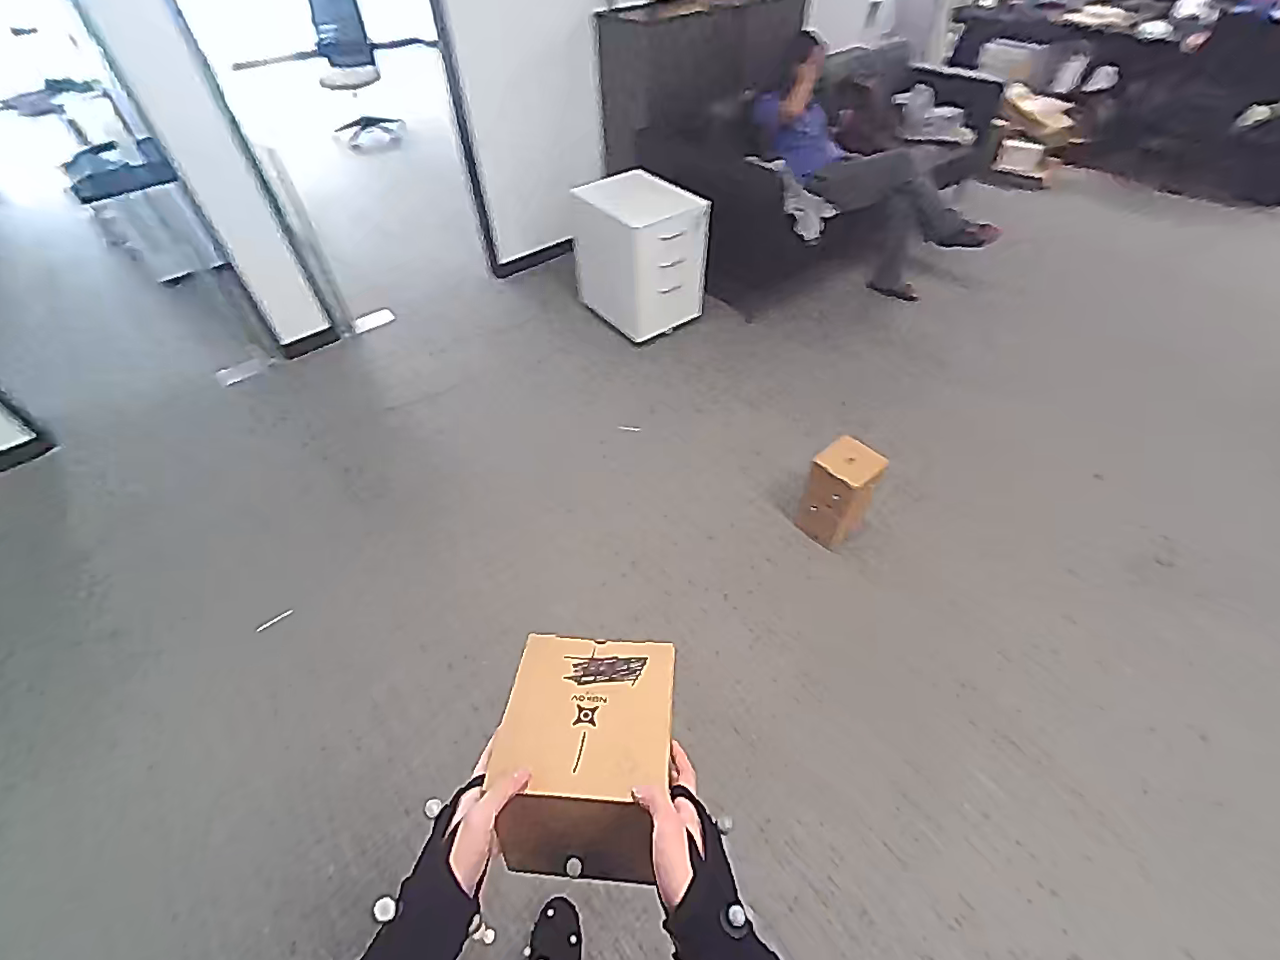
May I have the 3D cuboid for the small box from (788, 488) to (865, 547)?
[{"bbox_3d":[0.643,0.099,1.885,0.179,0.176,0.168,-31,54,-25],"label":"small box"}]

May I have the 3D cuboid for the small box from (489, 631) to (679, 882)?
[{"bbox_3d":[-0.047,0.292,0.586,0.168,0.176,0.179,3,34,5],"label":"small box"}]

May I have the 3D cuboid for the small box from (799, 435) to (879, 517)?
[{"bbox_3d":[0.640,-0.010,1.765,0.179,0.176,0.168,-33,56,-27],"label":"small box"}]
